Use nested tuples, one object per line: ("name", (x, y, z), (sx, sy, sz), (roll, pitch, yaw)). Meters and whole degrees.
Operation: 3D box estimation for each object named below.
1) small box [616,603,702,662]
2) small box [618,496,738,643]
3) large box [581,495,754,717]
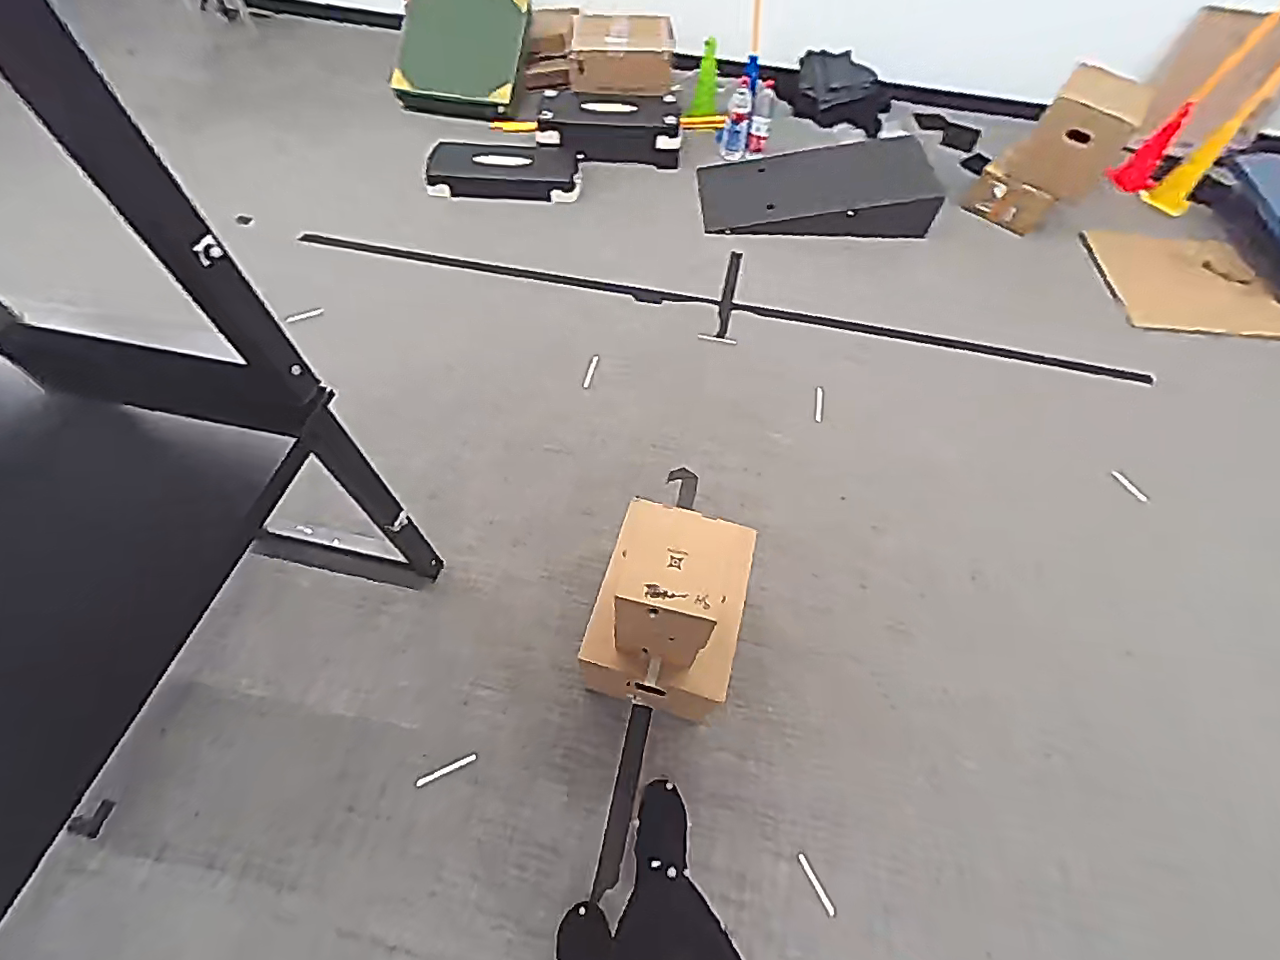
("small box", (0.053, 0.239, 1.077), (0.168, 0.176, 0.179), (15, 60, 7))
("small box", (0.061, 0.159, 0.934), (0.168, 0.176, 0.179), (13, 58, 7))
("large box", (0.067, 0.313, 1.319), (0.320, 0.320, 0.408), (16, 59, 5))
